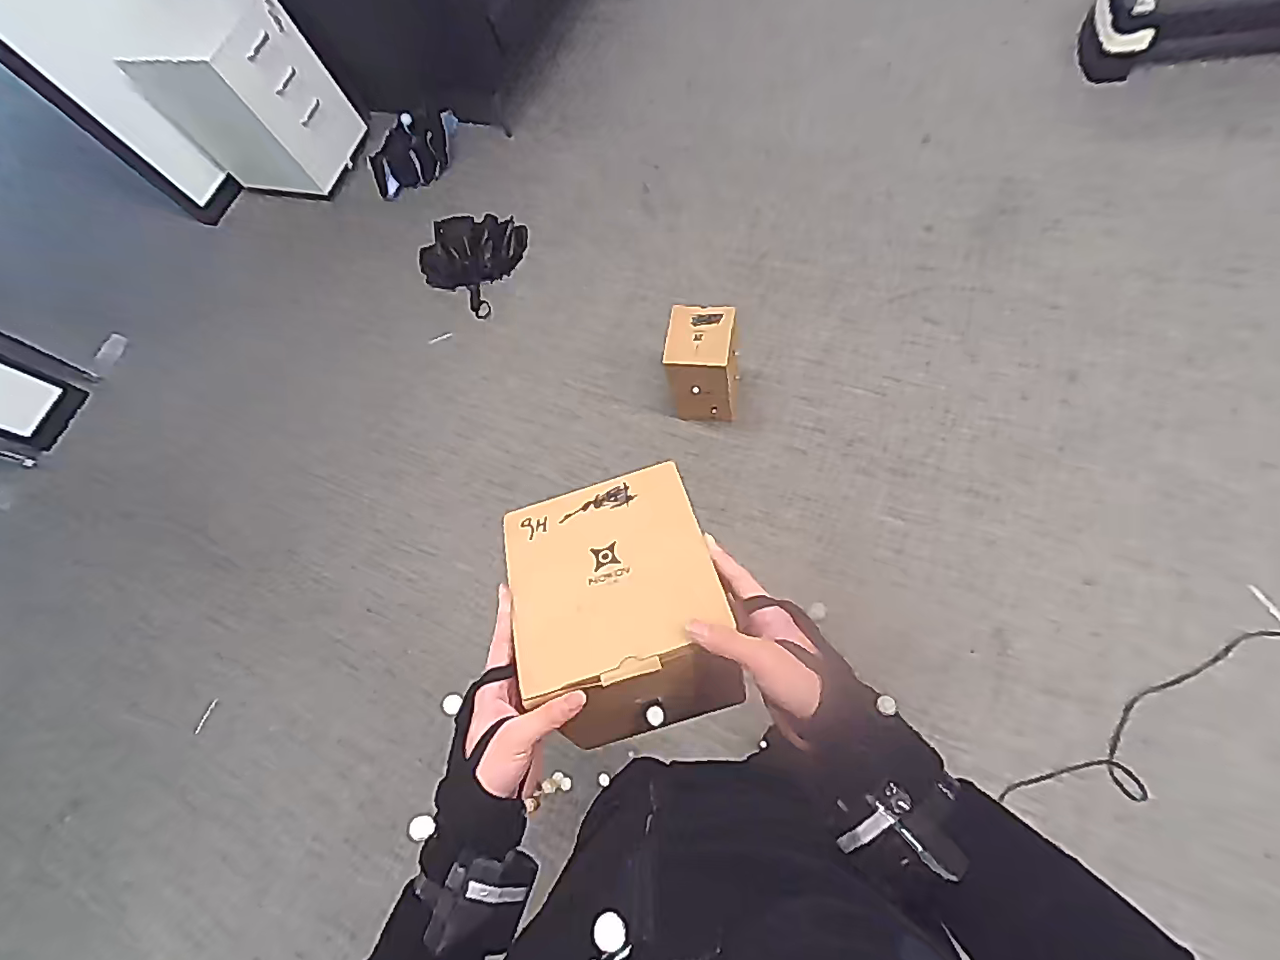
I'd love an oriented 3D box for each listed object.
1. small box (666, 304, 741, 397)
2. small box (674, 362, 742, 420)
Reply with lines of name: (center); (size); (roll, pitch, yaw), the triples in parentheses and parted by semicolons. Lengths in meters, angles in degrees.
small box: (0.174, -0.341, 1.429); (0.168, 0.176, 0.179); (6, 73, 16)
small box: (0.205, -0.290, 1.582); (0.168, 0.176, 0.179); (5, 70, 15)
